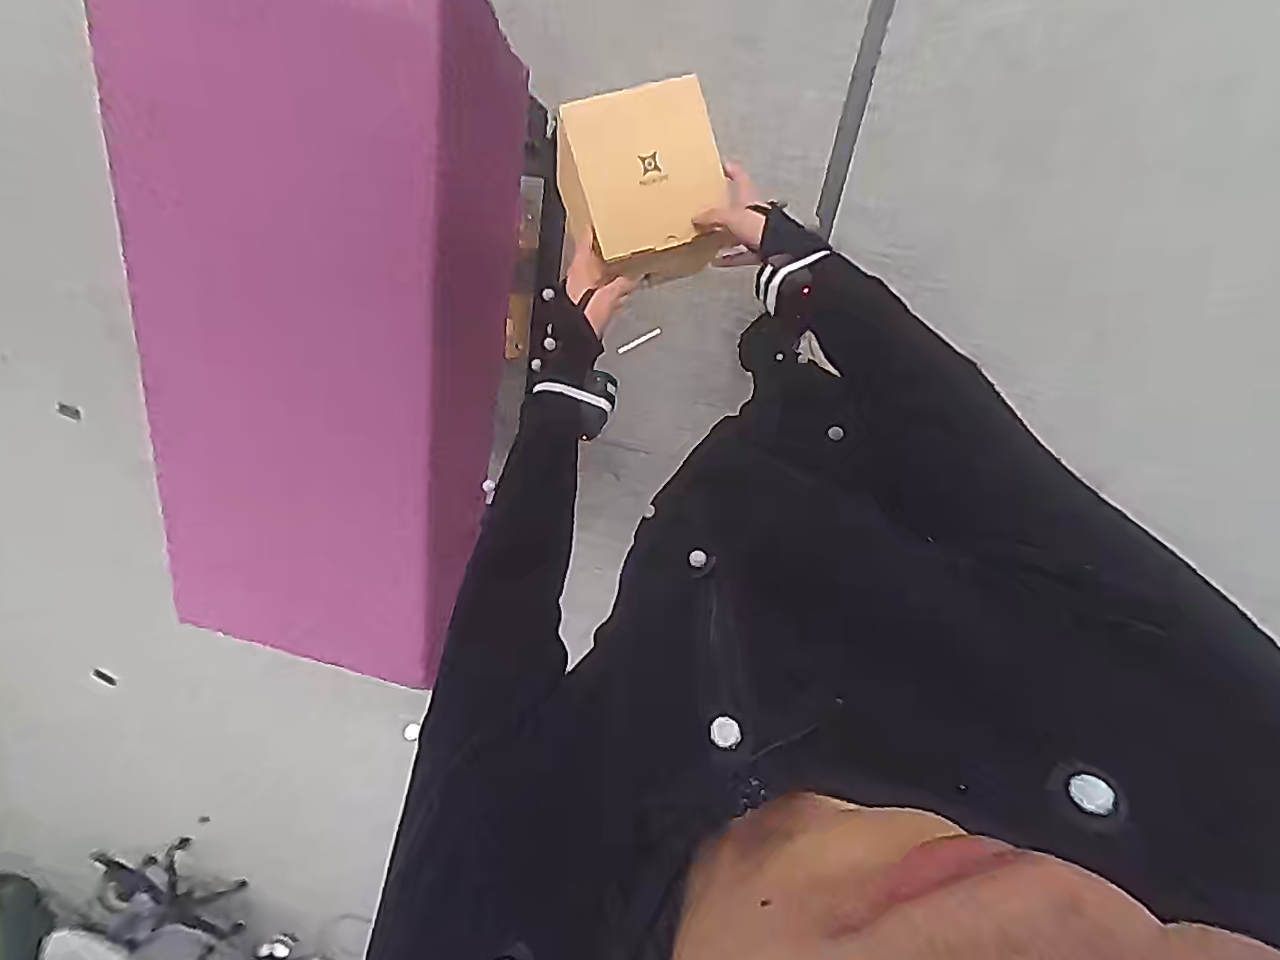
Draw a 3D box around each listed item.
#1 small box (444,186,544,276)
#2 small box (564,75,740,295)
[{"bbox_3d":[-0.388,-0.664,1.465,0.179,0.176,0.168,-16,104,17],"label":"small box"},{"bbox_3d":[0.004,-0.358,0.687,0.168,0.176,0.179,-18,97,-7],"label":"small box"}]
